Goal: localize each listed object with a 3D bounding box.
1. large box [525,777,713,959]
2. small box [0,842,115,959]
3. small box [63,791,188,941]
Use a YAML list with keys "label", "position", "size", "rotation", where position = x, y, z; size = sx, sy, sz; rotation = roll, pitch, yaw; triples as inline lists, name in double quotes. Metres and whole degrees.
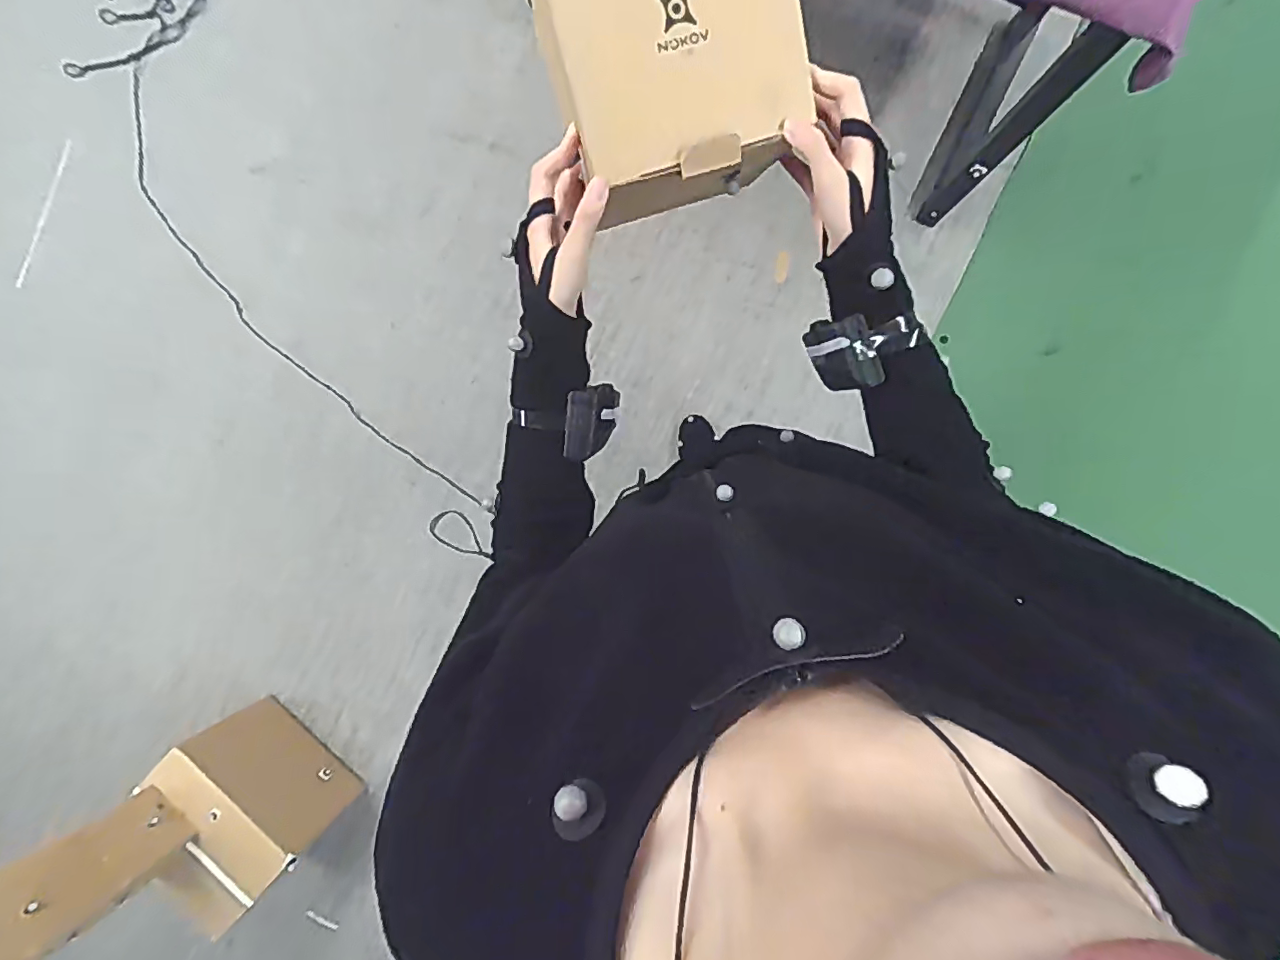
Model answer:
- label: "large box"
  position: [-0.048, 1.026, 1.390]
  size: [0.408, 0.320, 0.320]
  rotation: [11, 93, 2]
- label: "small box"
  position: [-1.211, 0.858, 1.059]
  size: [0.179, 0.176, 0.168]
  rotation: [45, 95, 1]
- label: "small box"
  position: [-1.191, 0.858, 1.220]
  size: [0.168, 0.176, 0.179]
  rotation: [44, 95, 2]
